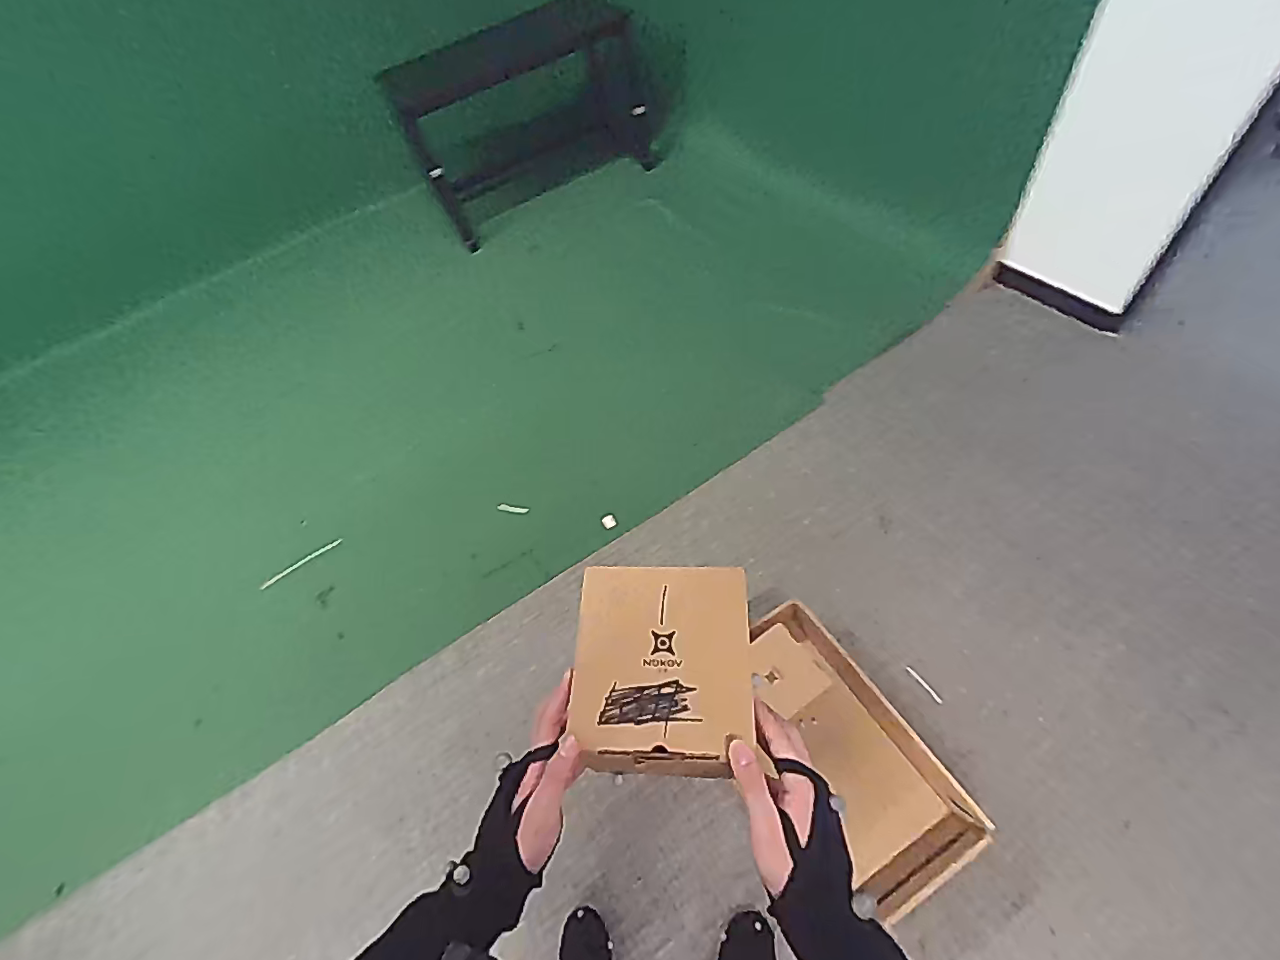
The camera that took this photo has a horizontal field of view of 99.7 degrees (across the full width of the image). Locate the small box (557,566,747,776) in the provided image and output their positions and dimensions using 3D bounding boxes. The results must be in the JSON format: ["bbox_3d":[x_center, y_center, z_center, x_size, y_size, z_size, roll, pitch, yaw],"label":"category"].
[{"bbox_3d":[0.020,0.204,0.566,0.168,0.176,0.179,-1,56,5],"label":"small box"}]

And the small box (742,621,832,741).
[{"bbox_3d":[0.295,0.451,1.205,0.179,0.176,0.168,-32,57,-11],"label":"small box"}]
